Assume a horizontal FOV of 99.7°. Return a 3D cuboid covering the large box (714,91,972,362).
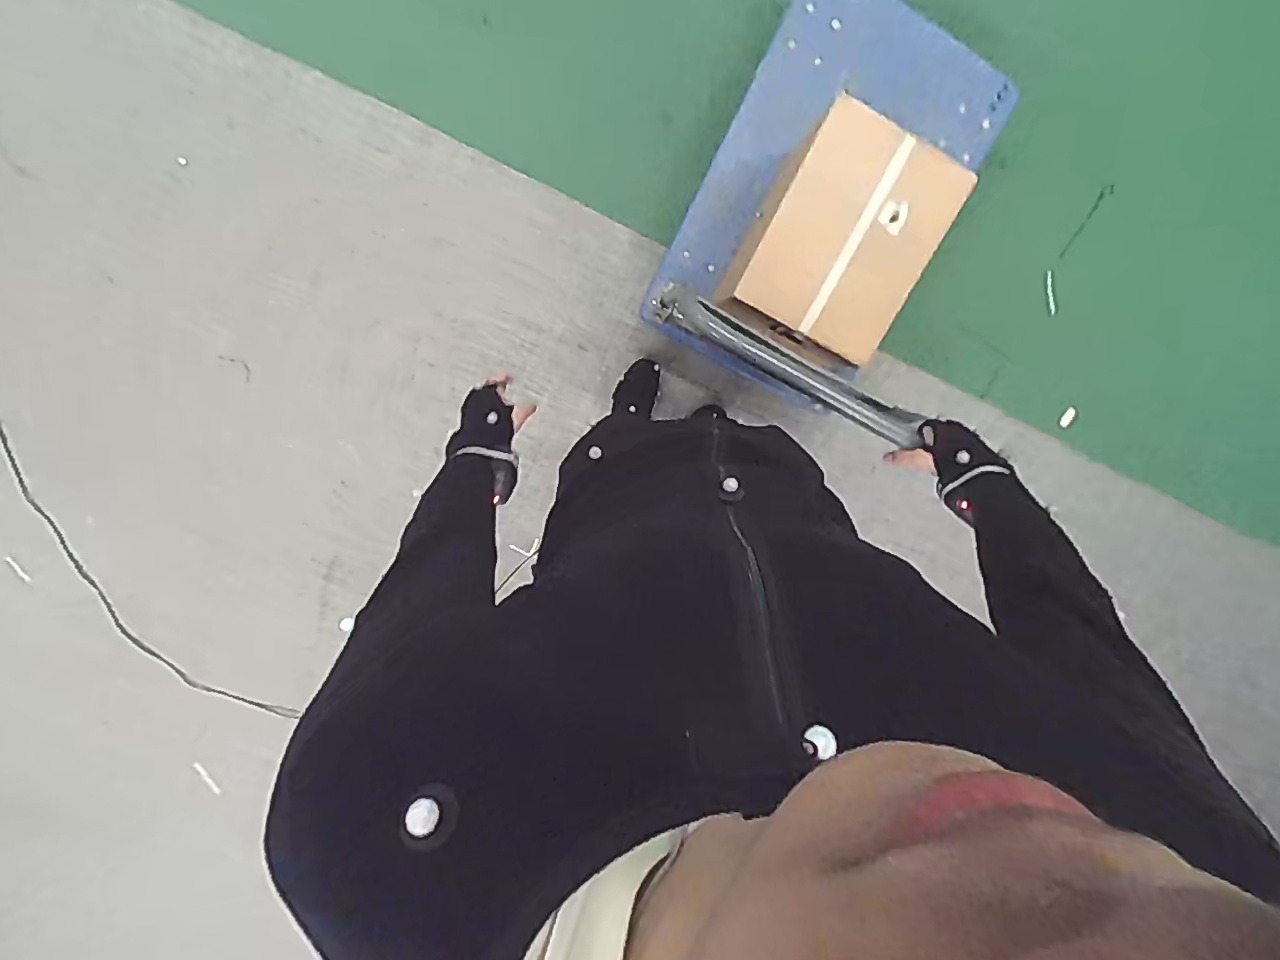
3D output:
[{"bbox_3d":[0.405,-0.506,1.186,0.320,0.320,0.408,27,101,-8],"label":"large box"}]
